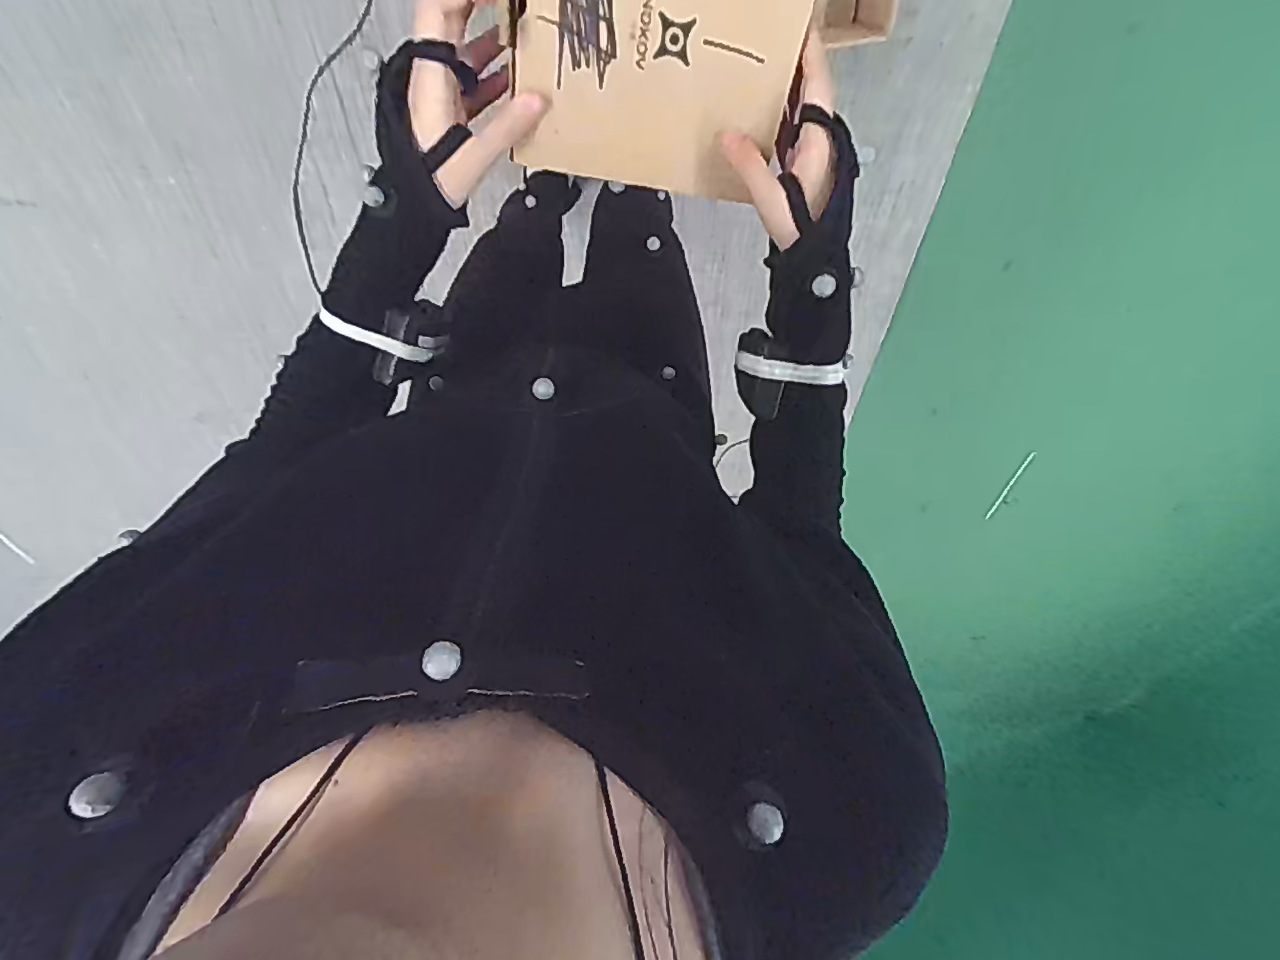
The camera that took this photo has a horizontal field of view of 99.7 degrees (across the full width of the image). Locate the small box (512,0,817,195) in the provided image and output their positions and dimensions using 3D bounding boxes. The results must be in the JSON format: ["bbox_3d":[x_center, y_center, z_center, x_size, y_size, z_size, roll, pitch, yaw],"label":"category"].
[{"bbox_3d":[0.010,-0.320,0.381,0.179,0.176,0.168,5,128,-10],"label":"small box"}]
